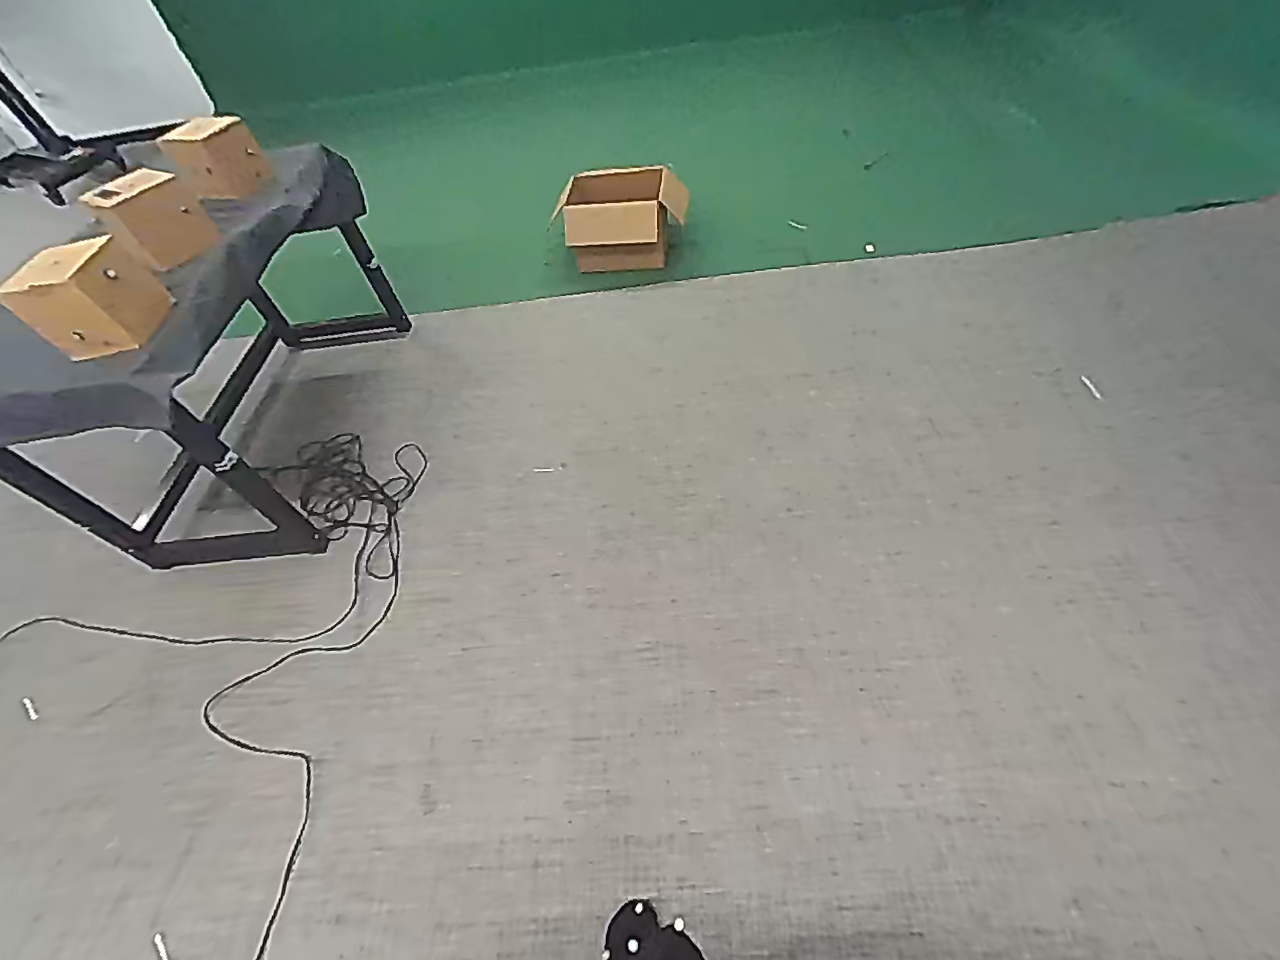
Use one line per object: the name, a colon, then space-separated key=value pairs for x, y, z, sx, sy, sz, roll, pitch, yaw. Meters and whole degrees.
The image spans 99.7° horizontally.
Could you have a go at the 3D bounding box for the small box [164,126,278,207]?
small box: x=-1.259 y=-0.947 z=1.640 sx=0.179 sy=0.176 sz=0.168 roll=8 pitch=52 yaw=17

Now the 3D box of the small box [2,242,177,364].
small box: x=-1.162 y=-0.379 z=1.165 sx=0.168 sy=0.176 sz=0.179 roll=-10 pitch=51 yaw=4
